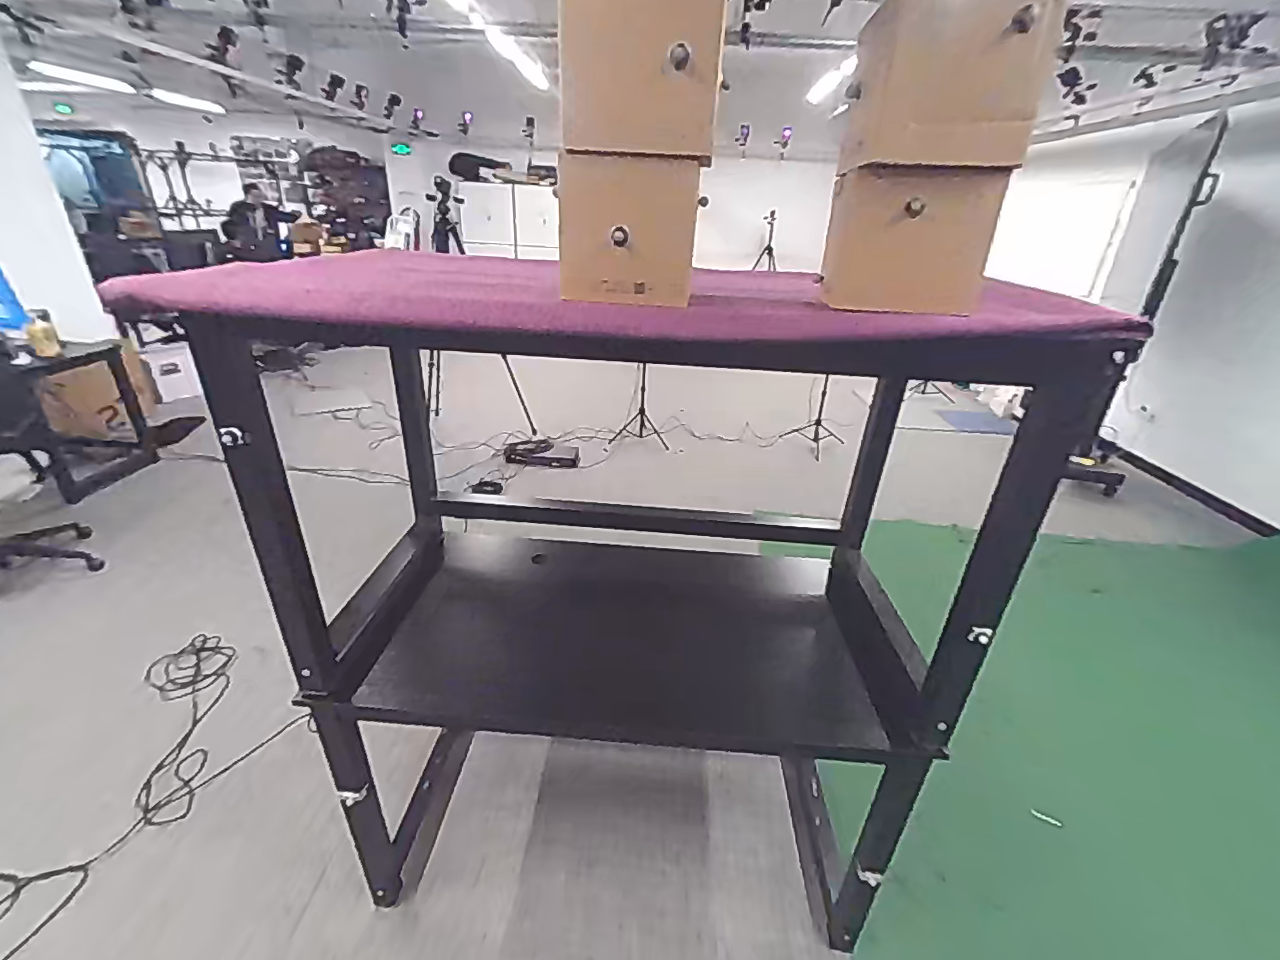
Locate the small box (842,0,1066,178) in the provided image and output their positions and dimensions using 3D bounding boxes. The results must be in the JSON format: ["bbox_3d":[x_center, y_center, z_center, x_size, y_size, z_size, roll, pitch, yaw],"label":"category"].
[{"bbox_3d":[0.358,-0.458,0.659,0.179,0.176,0.168,4,25,4],"label":"small box"}]

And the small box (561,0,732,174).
[{"bbox_3d":[0.010,-0.468,0.646,0.179,0.176,0.168,5,26,4],"label":"small box"}]

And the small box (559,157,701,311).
[{"bbox_3d":[-0.007,-0.329,0.730,0.168,0.176,0.179,6,26,4],"label":"small box"}]

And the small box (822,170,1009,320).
[{"bbox_3d":[0.355,-0.317,0.740,0.179,0.176,0.168,6,25,8],"label":"small box"}]
